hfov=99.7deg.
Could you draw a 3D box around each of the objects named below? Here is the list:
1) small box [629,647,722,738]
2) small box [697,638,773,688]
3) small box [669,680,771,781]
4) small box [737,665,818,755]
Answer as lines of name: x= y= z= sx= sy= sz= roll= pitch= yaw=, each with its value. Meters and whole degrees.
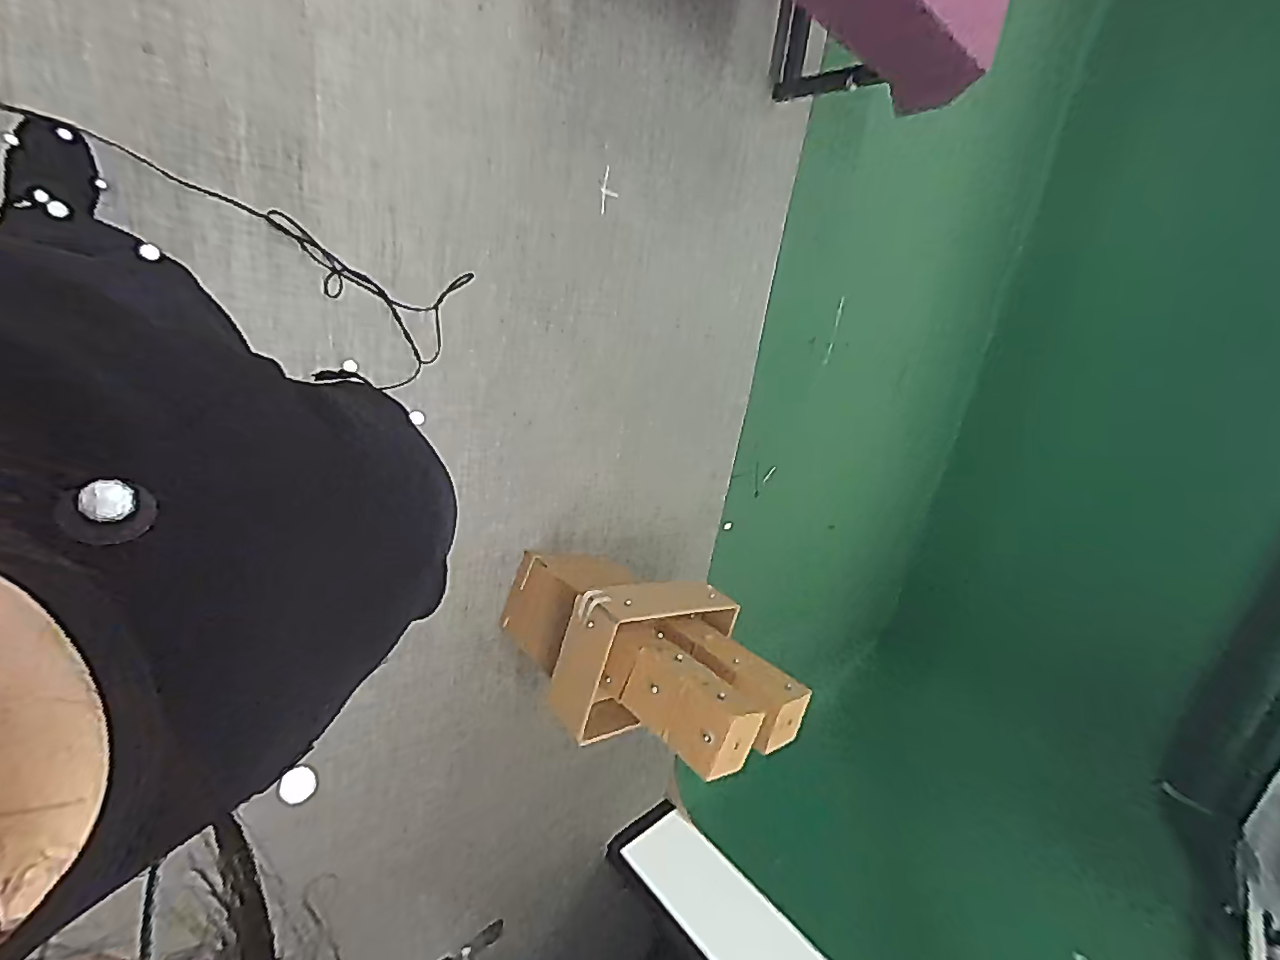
small box: x=0.095 y=0.585 z=1.520 sx=0.168 sy=0.176 sz=0.179 roll=17 pitch=96 yaw=-46
small box: x=0.287 y=0.622 z=1.724 sx=0.179 sy=0.176 sz=0.168 roll=7 pitch=104 yaw=-44
small box: x=0.204 y=0.638 z=1.408 sx=0.168 sy=0.176 sz=0.179 roll=19 pitch=96 yaw=-46
small box: x=0.393 y=0.672 z=1.608 sx=0.179 sy=0.176 sz=0.168 roll=6 pitch=104 yaw=-43
